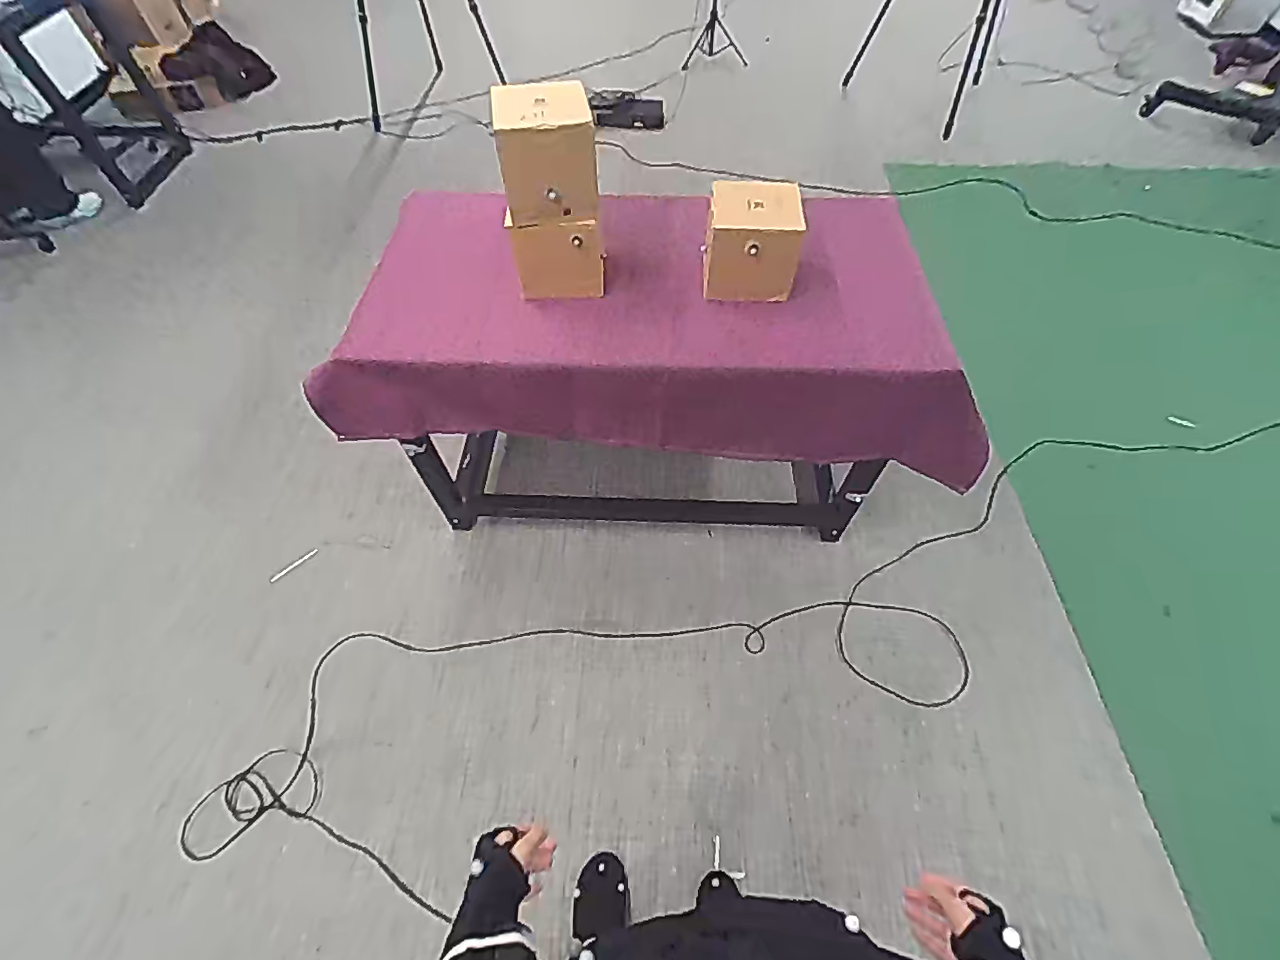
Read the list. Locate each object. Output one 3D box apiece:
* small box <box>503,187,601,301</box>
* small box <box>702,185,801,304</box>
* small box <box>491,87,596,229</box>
[{"bbox_3d":[-0.174,-0.491,1.132,0.179,0.176,0.168,-2,56,-2],"label":"small box"},{"bbox_3d":[0.222,-0.484,1.119,0.179,0.176,0.168,3,57,2],"label":"small box"},{"bbox_3d":[-0.176,-0.593,1.002,0.168,0.176,0.179,-9,56,-5],"label":"small box"}]
